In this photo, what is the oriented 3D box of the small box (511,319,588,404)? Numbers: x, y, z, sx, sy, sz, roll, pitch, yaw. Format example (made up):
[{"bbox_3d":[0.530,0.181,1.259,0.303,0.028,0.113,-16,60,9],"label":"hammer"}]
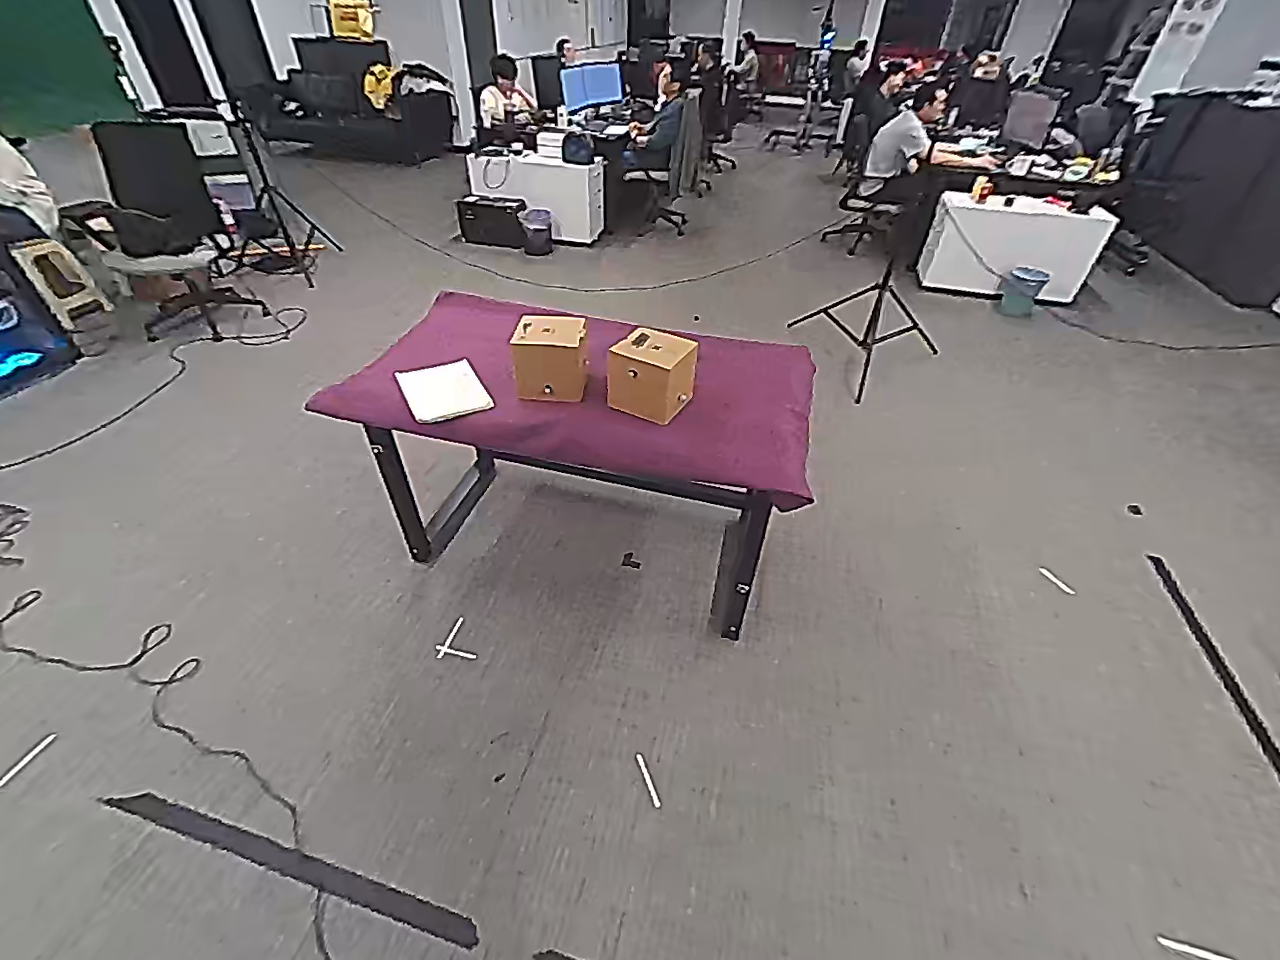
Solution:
[{"bbox_3d":[-0.238,-0.321,1.474,0.179,0.176,0.168,3,40,1],"label":"small box"}]

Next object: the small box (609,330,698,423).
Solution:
[{"bbox_3d":[0.033,-0.271,1.424,0.179,0.176,0.168,22,44,21],"label":"small box"}]
